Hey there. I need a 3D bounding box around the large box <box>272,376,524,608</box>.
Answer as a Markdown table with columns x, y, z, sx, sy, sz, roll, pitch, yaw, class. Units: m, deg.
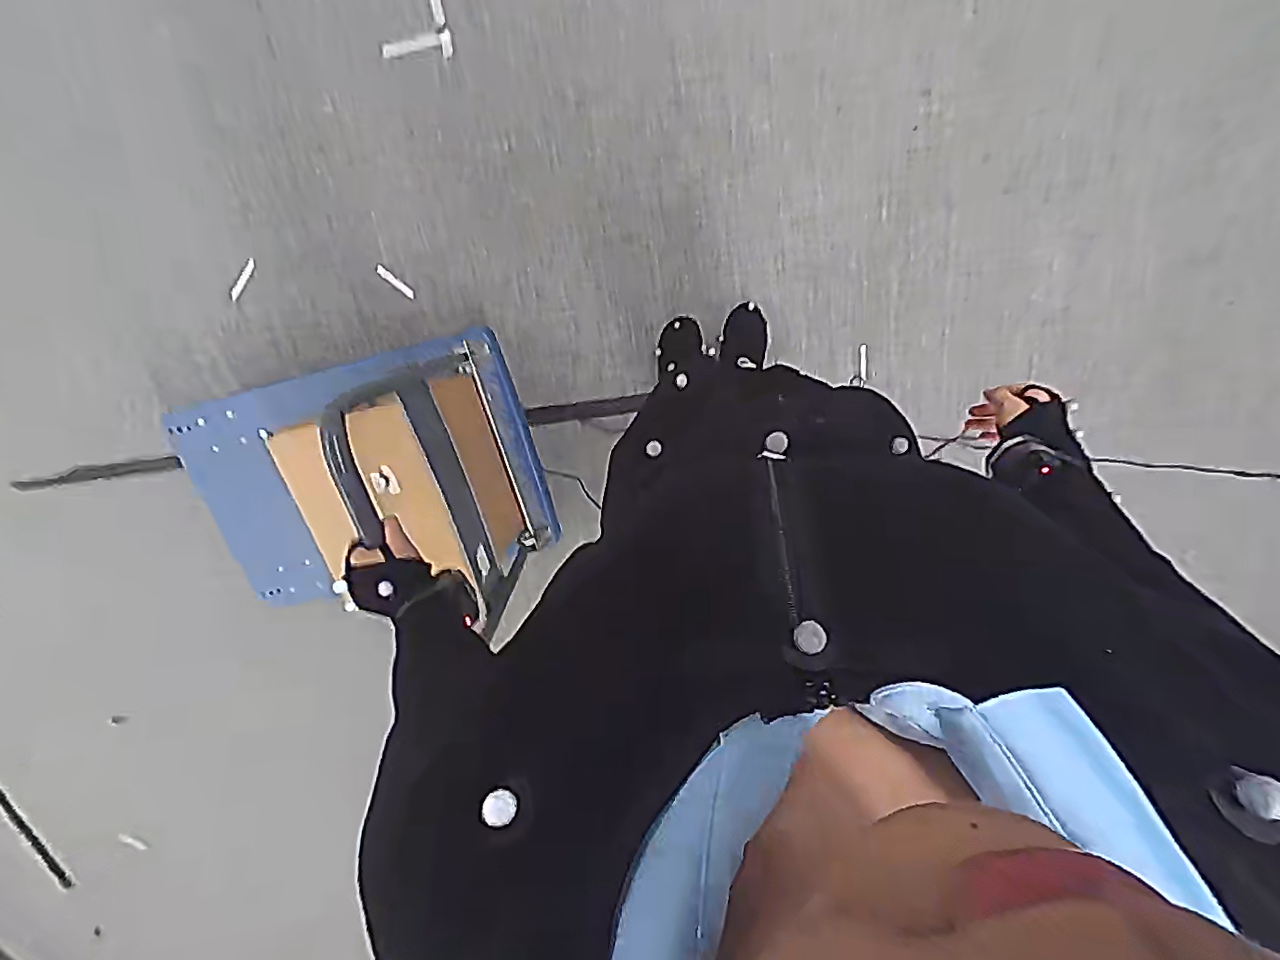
| x | y | z | sx | sy | sz | roll | pitch | yaw | class |
| --- | --- | --- | --- | --- | --- | --- | --- | --- | --- |
| -0.500 | 0.015 | 1.215 | 0.320 | 0.320 | 0.408 | -13 | 108 | 7 | large box |
